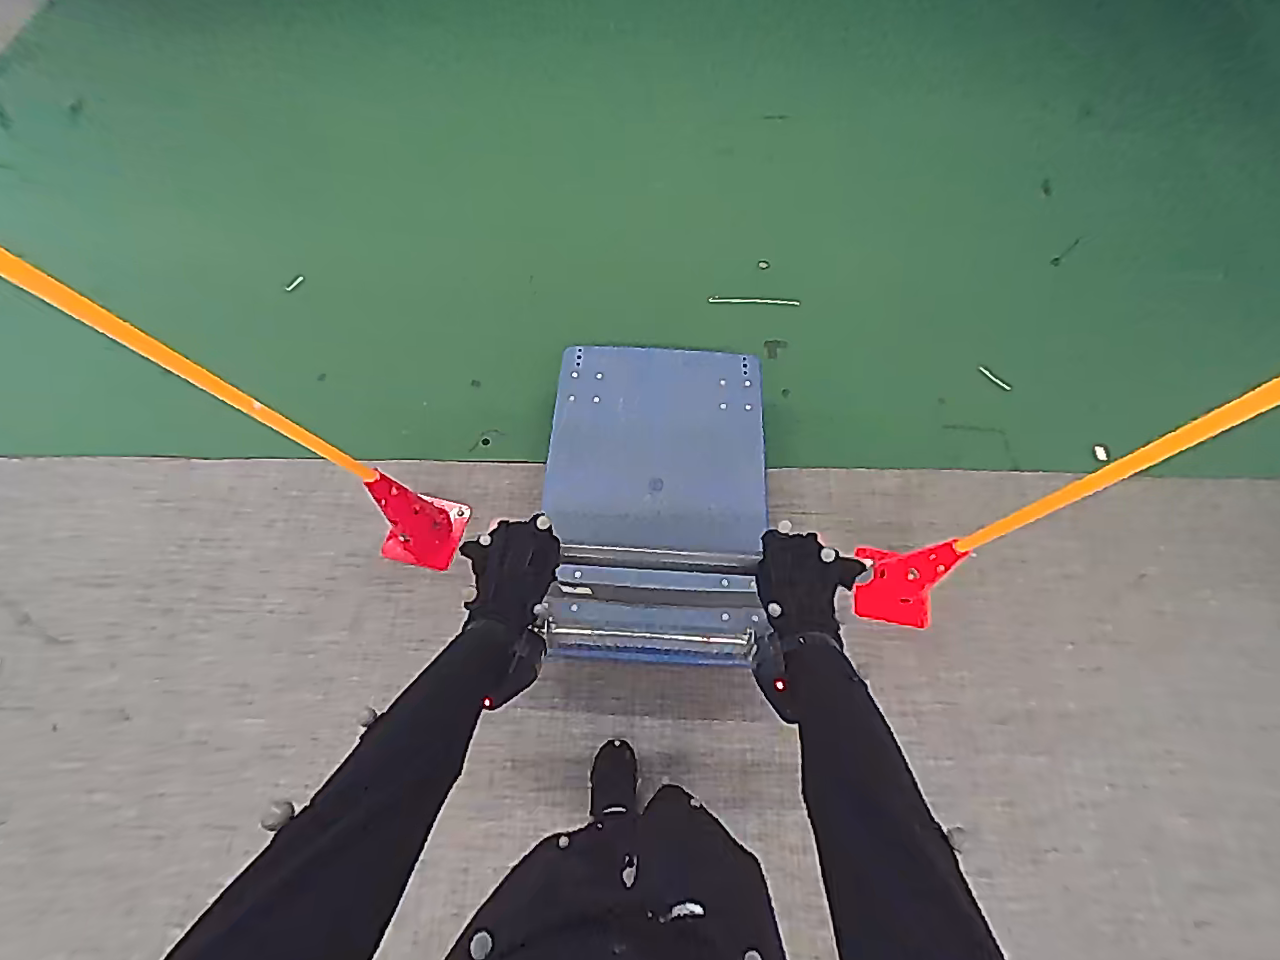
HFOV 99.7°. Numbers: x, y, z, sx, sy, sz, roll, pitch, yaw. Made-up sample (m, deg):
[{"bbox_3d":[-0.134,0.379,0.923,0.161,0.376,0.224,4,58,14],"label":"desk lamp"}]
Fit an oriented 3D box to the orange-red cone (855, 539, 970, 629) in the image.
[{"bbox_3d":[0.683,0.218,1.302,0.198,0.360,0.199,11,66,5],"label":"orange-red cone"}]
